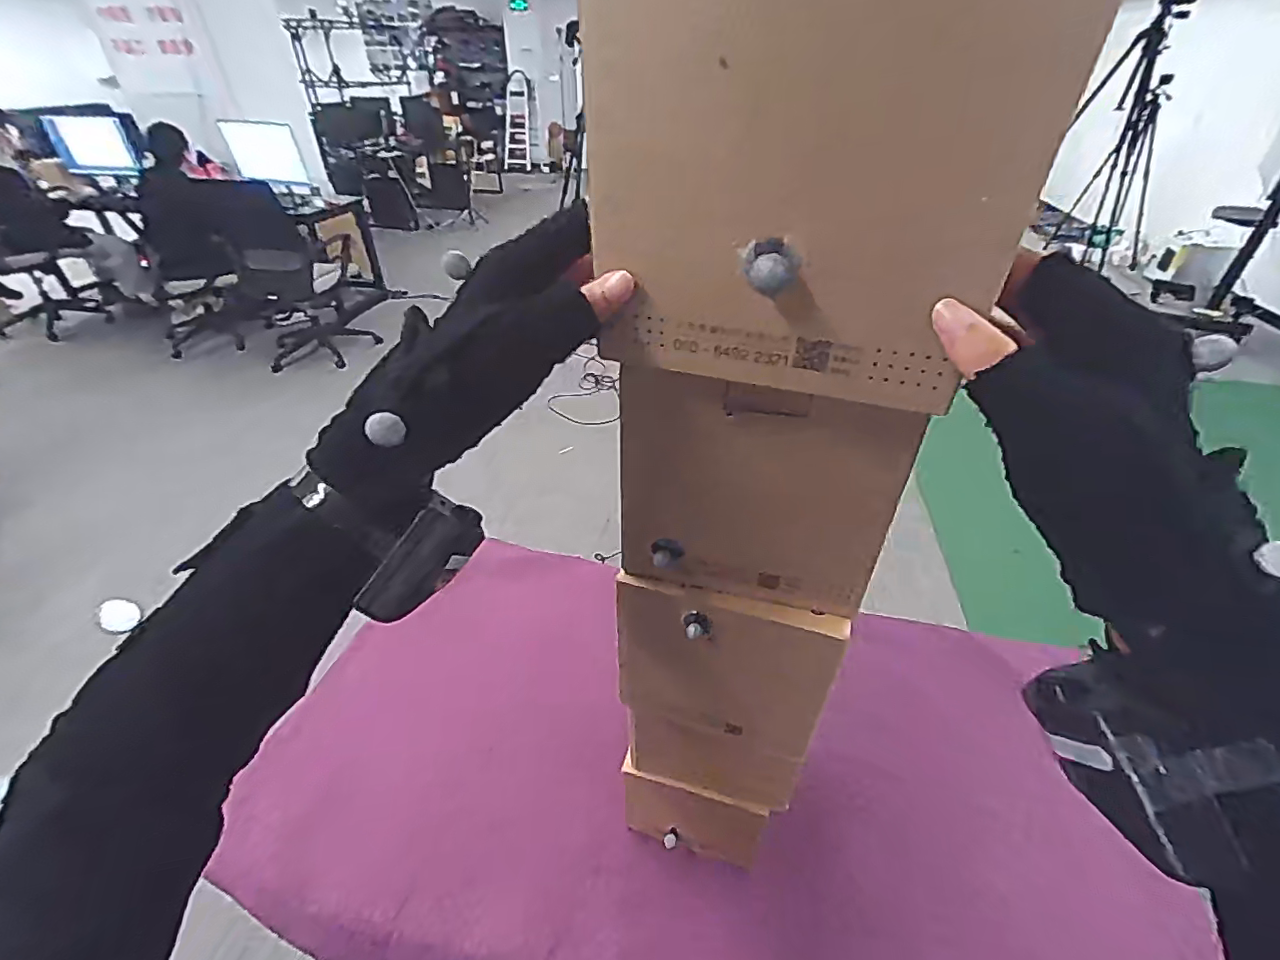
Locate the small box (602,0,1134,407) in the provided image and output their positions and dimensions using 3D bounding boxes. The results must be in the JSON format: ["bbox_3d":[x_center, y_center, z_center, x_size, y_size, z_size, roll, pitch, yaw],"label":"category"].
[{"bbox_3d":[0.086,-0.159,0.259,0.168,0.176,0.179,12,42,16],"label":"small box"}]

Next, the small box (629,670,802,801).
[{"bbox_3d":[0.094,0.221,0.599,0.179,0.176,0.168,10,39,13],"label":"small box"}]

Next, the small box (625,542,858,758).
[{"bbox_3d":[0.089,0.104,0.481,0.168,0.176,0.179,11,38,15],"label":"small box"}]

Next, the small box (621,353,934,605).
[{"bbox_3d":[0.090,-0.036,0.393,0.168,0.176,0.179,9,37,11],"label":"small box"}]

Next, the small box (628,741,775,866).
[{"bbox_3d":[0.087,0.349,0.697,0.168,0.176,0.179,10,39,14],"label":"small box"}]
